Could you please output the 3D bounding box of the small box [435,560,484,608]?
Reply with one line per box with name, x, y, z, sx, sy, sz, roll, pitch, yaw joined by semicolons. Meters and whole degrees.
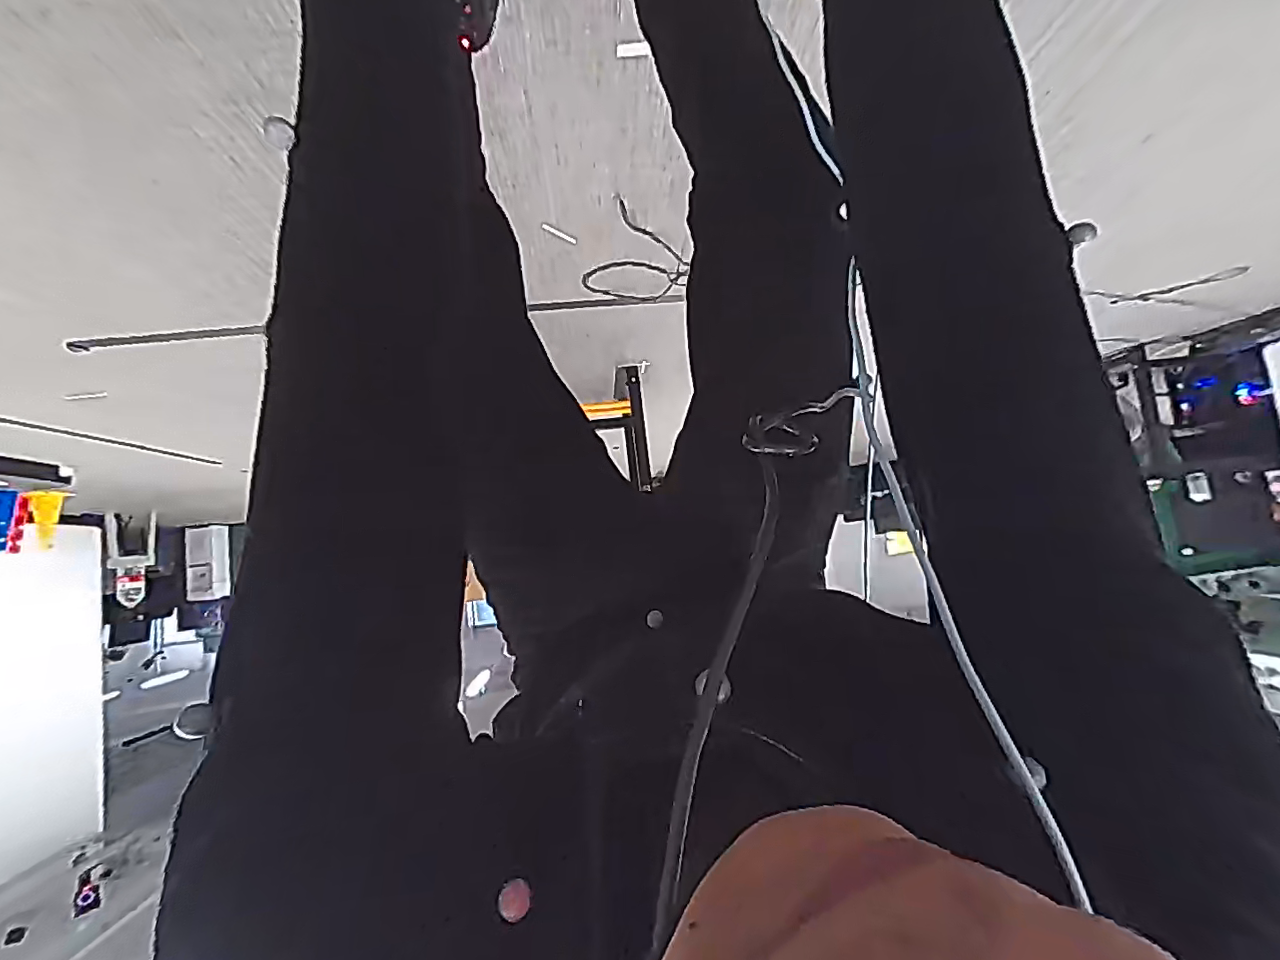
small box;-0.763;0.434;2.290;0.168;0.176;0.179;-7;175;-9
